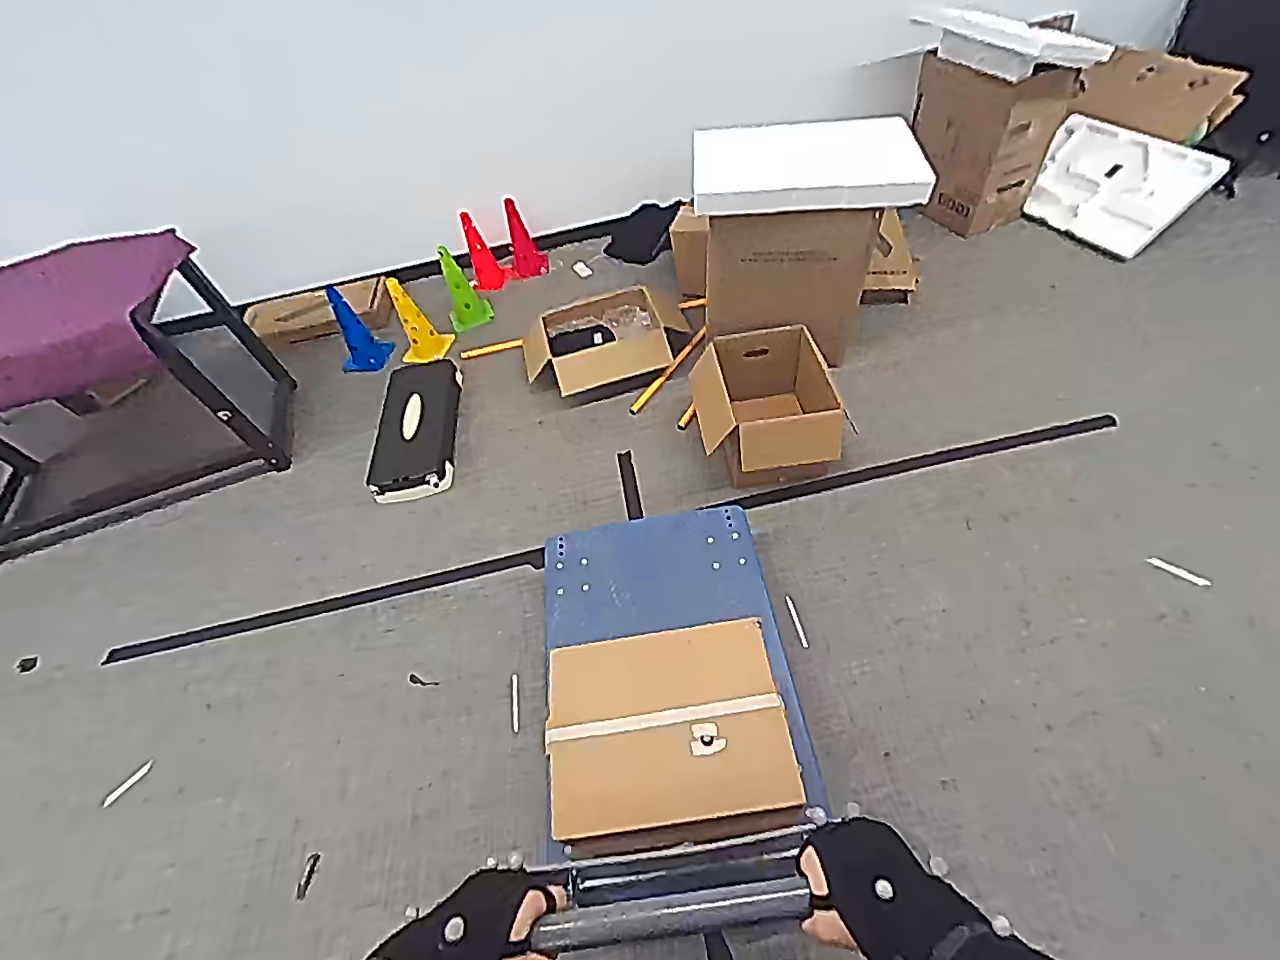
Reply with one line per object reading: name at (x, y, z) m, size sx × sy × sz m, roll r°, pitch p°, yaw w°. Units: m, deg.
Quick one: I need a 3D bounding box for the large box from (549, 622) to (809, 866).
large box at (0.060, 0.508, 1.028) m, size 0.408 × 0.320 × 0.320 m, roll -9°, pitch 52°, yaw 1°
